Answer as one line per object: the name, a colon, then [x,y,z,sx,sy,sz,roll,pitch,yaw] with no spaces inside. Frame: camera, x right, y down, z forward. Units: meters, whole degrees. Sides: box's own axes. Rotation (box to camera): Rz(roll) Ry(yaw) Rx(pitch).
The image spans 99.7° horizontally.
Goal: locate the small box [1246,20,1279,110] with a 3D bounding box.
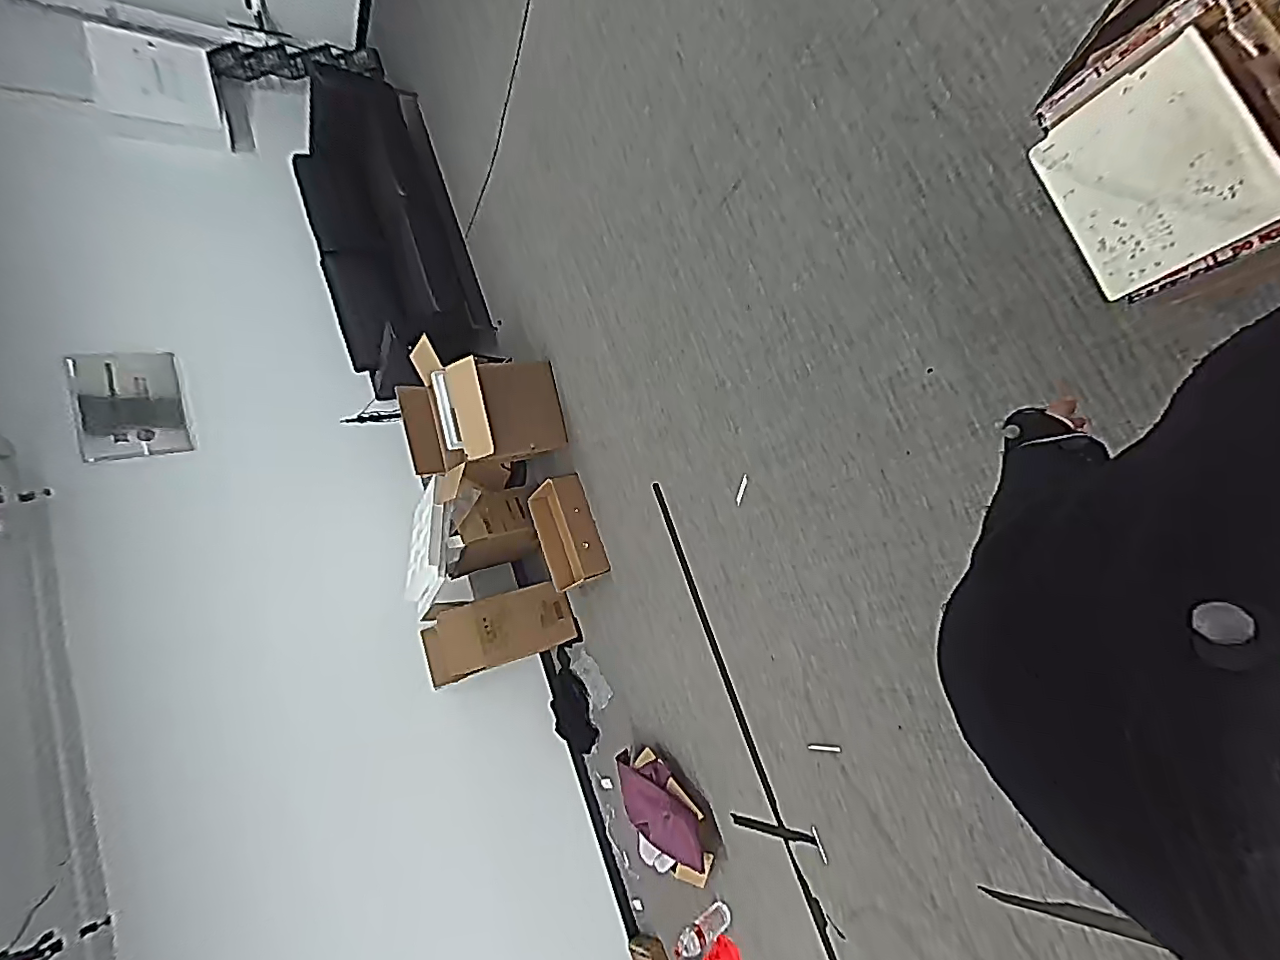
small box: [0.753,-0.431,0.522,0.179,0.176,0.168,-36,72,52]
